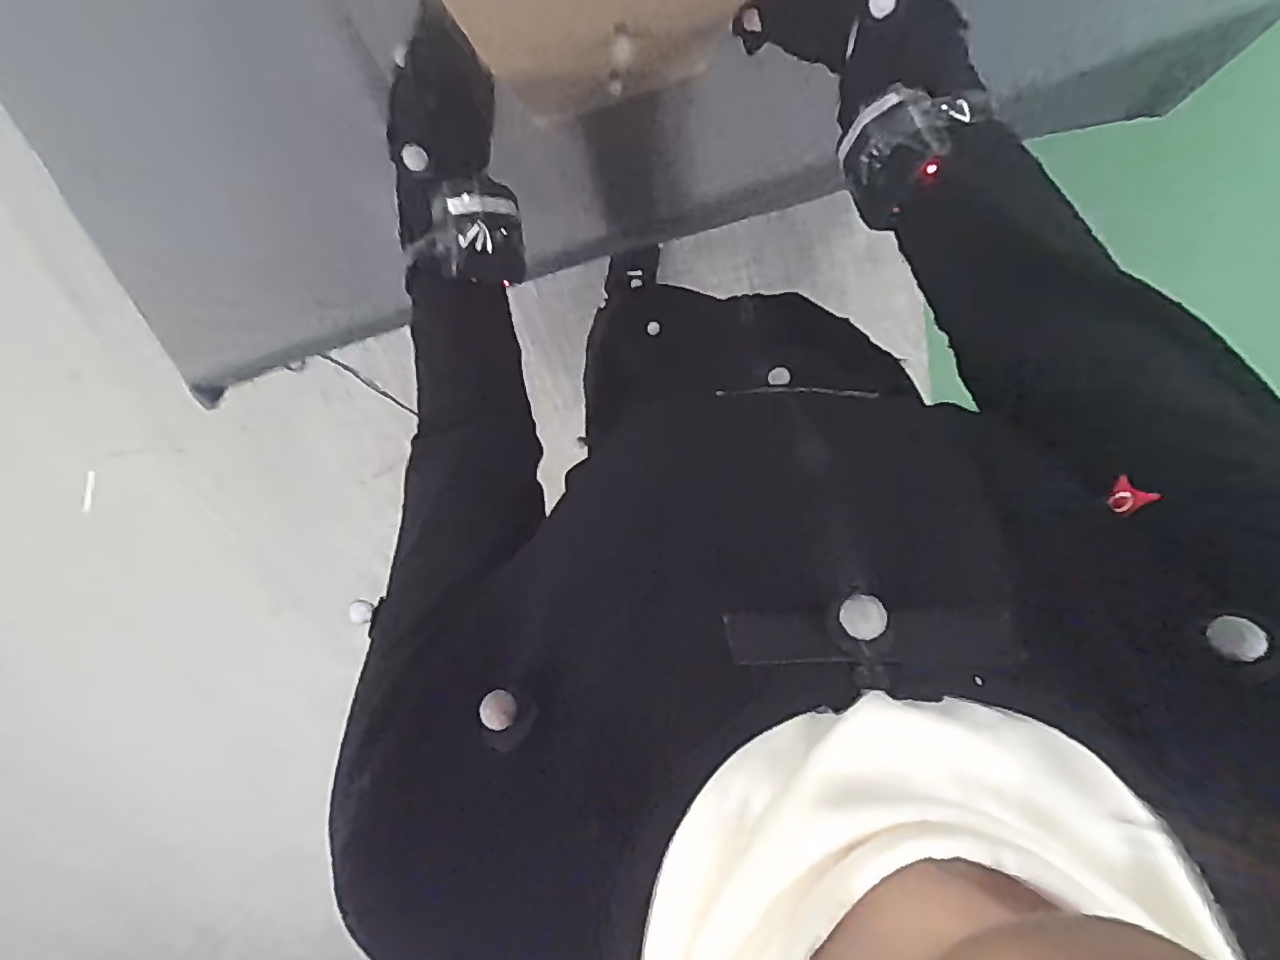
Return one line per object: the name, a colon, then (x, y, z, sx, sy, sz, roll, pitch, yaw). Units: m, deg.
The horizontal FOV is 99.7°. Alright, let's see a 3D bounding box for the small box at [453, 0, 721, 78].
small box: (-0.033, -0.352, 0.286, 0.179, 0.176, 0.168, -15, 112, 4)
